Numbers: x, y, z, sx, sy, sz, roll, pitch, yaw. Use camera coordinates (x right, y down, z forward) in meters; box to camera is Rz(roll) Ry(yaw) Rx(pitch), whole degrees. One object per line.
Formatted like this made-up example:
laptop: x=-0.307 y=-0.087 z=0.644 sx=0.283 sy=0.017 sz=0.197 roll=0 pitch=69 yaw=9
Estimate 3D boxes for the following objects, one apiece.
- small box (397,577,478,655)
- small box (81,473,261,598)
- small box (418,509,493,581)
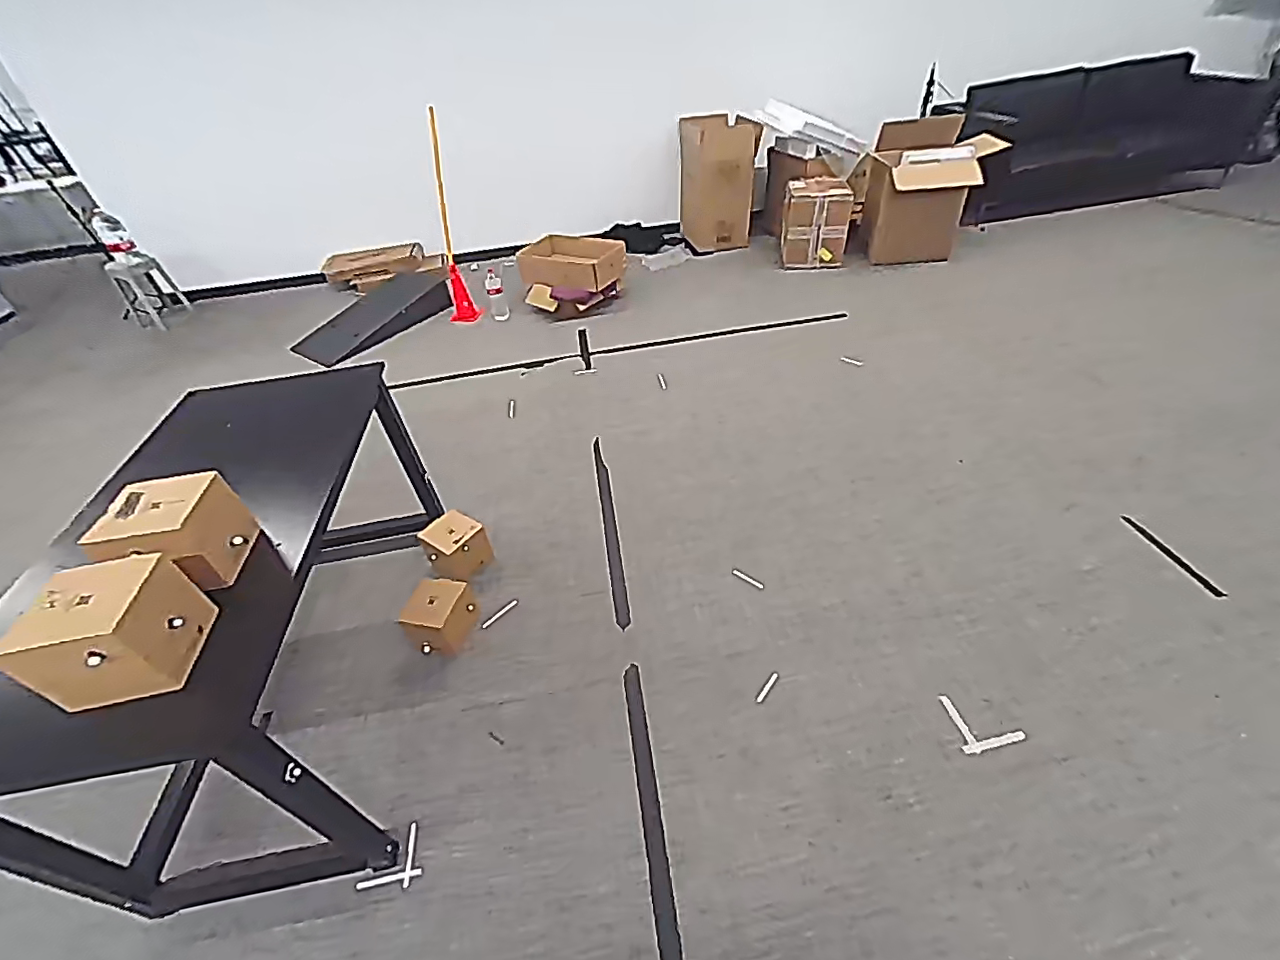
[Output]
small box: x=-0.648 y=0.444 z=1.765 sx=0.168 sy=0.176 sz=0.179 roll=4 pitch=44 yaw=13
small box: x=-0.905 y=0.113 z=1.067 sx=0.179 sy=0.176 sz=0.168 roll=-10 pitch=42 yaw=-4
small box: x=-0.673 y=0.242 z=1.990 sx=0.179 sy=0.176 sz=0.168 roll=22 pitch=49 yaw=28
